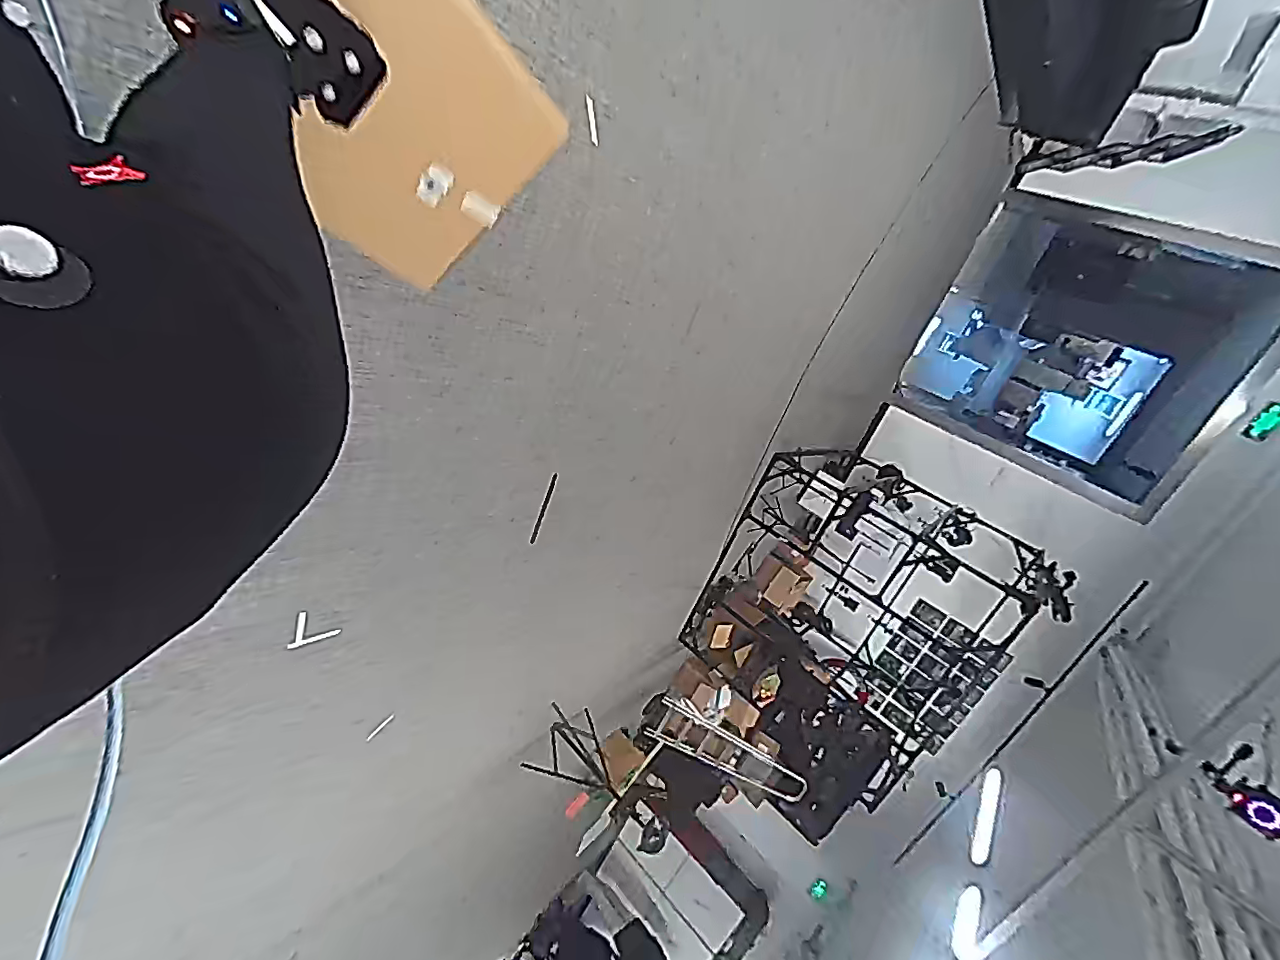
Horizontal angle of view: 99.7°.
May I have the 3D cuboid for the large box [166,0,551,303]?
[{"bbox_3d":[-0.390,-0.533,0.751,0.320,0.408,0.320,-39,148,11],"label":"large box"}]
